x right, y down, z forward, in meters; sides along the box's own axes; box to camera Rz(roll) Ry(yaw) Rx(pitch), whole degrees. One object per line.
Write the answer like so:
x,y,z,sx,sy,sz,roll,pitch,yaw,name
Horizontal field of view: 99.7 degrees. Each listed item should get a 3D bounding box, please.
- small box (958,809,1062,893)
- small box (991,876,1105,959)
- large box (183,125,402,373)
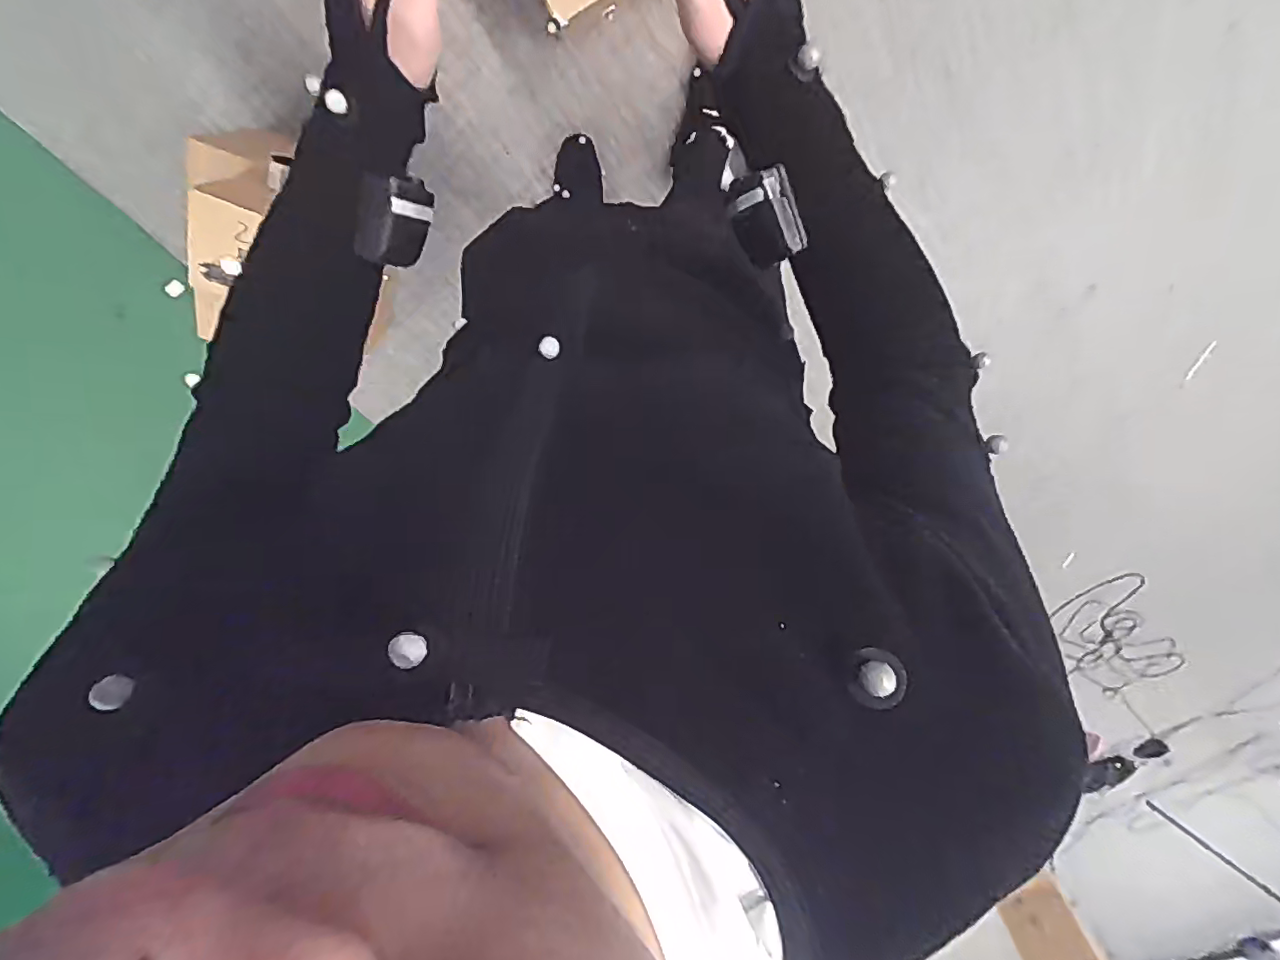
1.052,1.074,1.550,0.168,0.176,0.179,-33,122,18,small box
1.067,1.174,1.420,0.168,0.176,0.179,-34,121,19,small box
-0.760,-0.526,1.237,0.320,0.320,0.408,15,124,-14,large box
